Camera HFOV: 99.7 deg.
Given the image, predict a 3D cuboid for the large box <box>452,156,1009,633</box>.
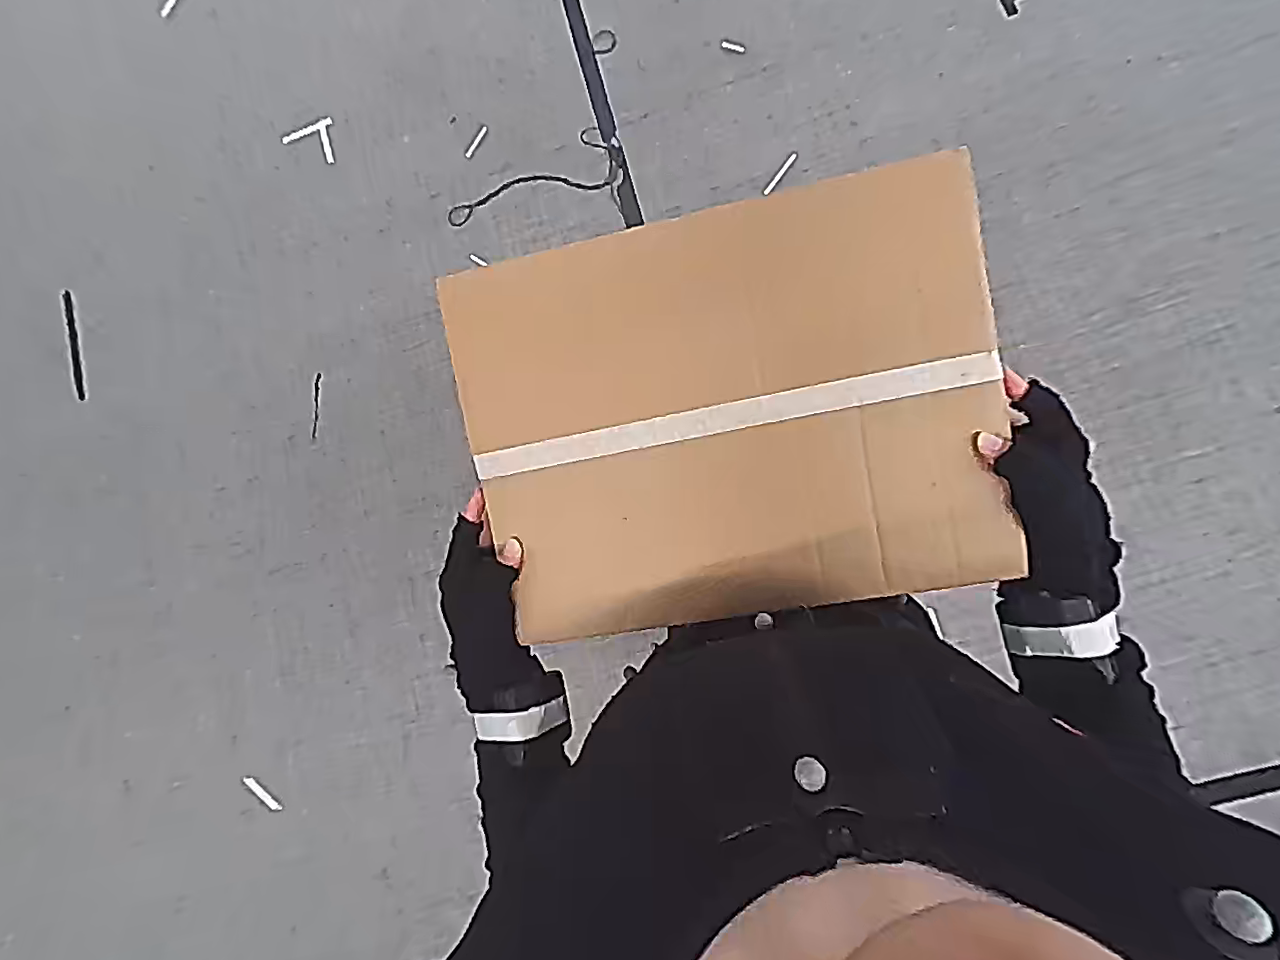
[{"bbox_3d":[0.081,-0.065,0.578,0.408,0.320,0.320,-10,95,8],"label":"large box"}]
